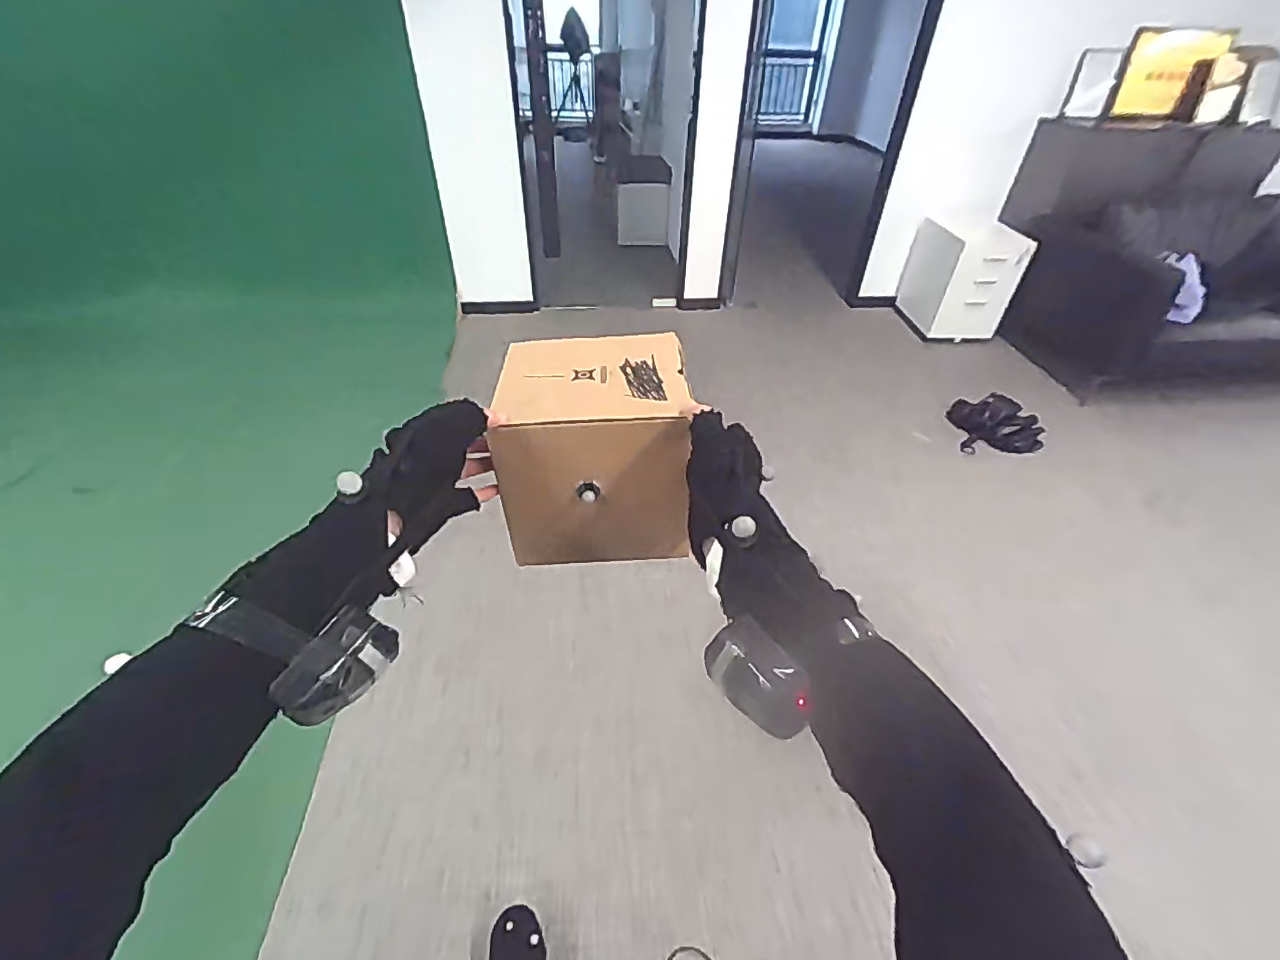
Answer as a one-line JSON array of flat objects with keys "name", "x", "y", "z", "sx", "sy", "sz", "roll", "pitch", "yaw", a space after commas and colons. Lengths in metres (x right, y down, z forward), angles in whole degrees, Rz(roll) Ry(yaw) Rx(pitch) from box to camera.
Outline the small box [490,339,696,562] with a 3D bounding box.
[{"name": "small box", "x": -0.041, "y": -0.031, "z": 0.564, "sx": 0.179, "sy": 0.176, "sz": 0.168, "roll": -4, "pitch": 37, "yaw": -1}]
